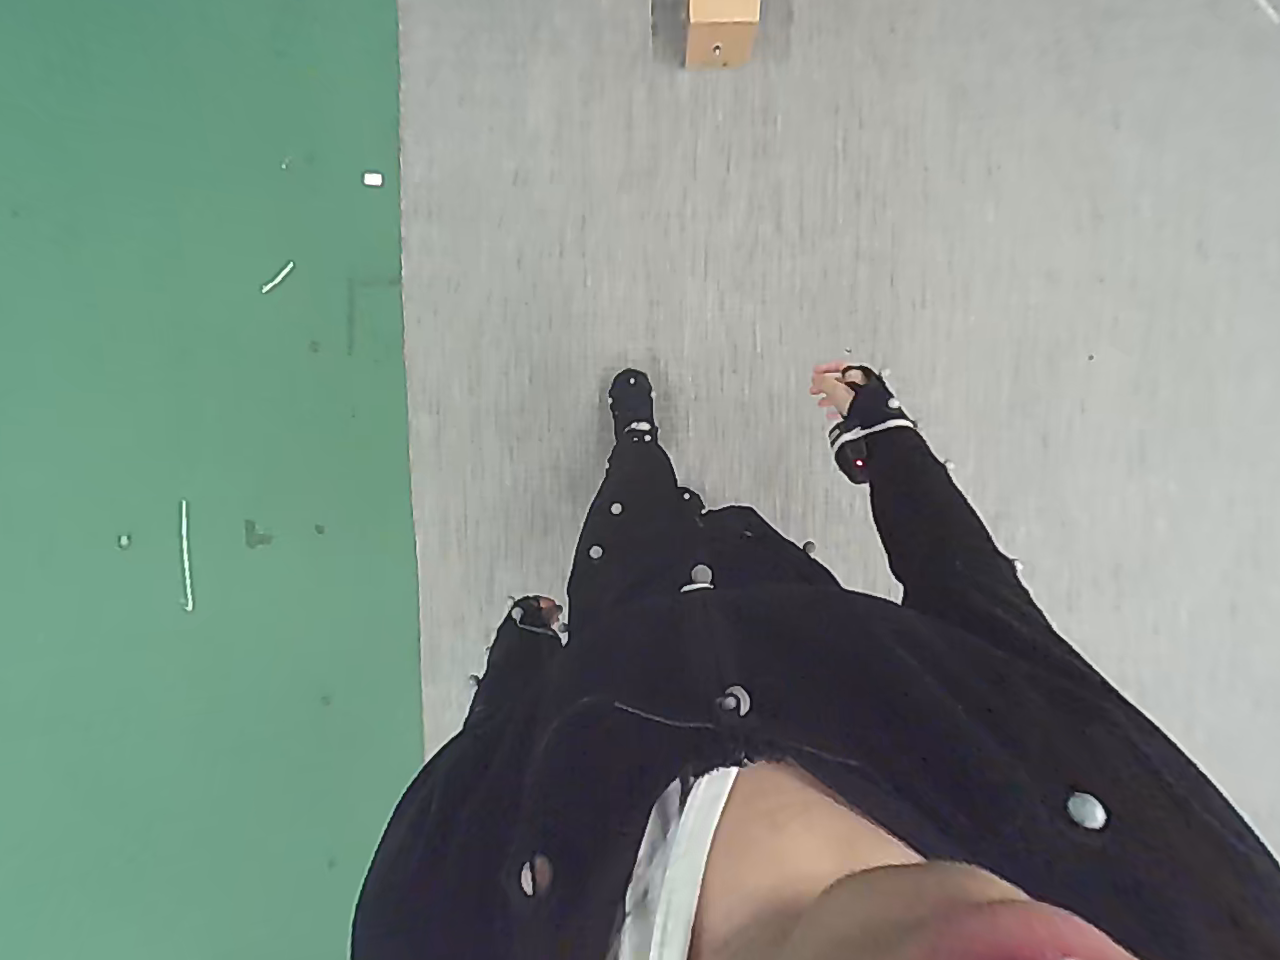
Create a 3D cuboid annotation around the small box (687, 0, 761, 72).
[{"bbox_3d":[0.206,-1.158,1.348,0.168,0.176,0.179,0,94,1],"label":"small box"}]
